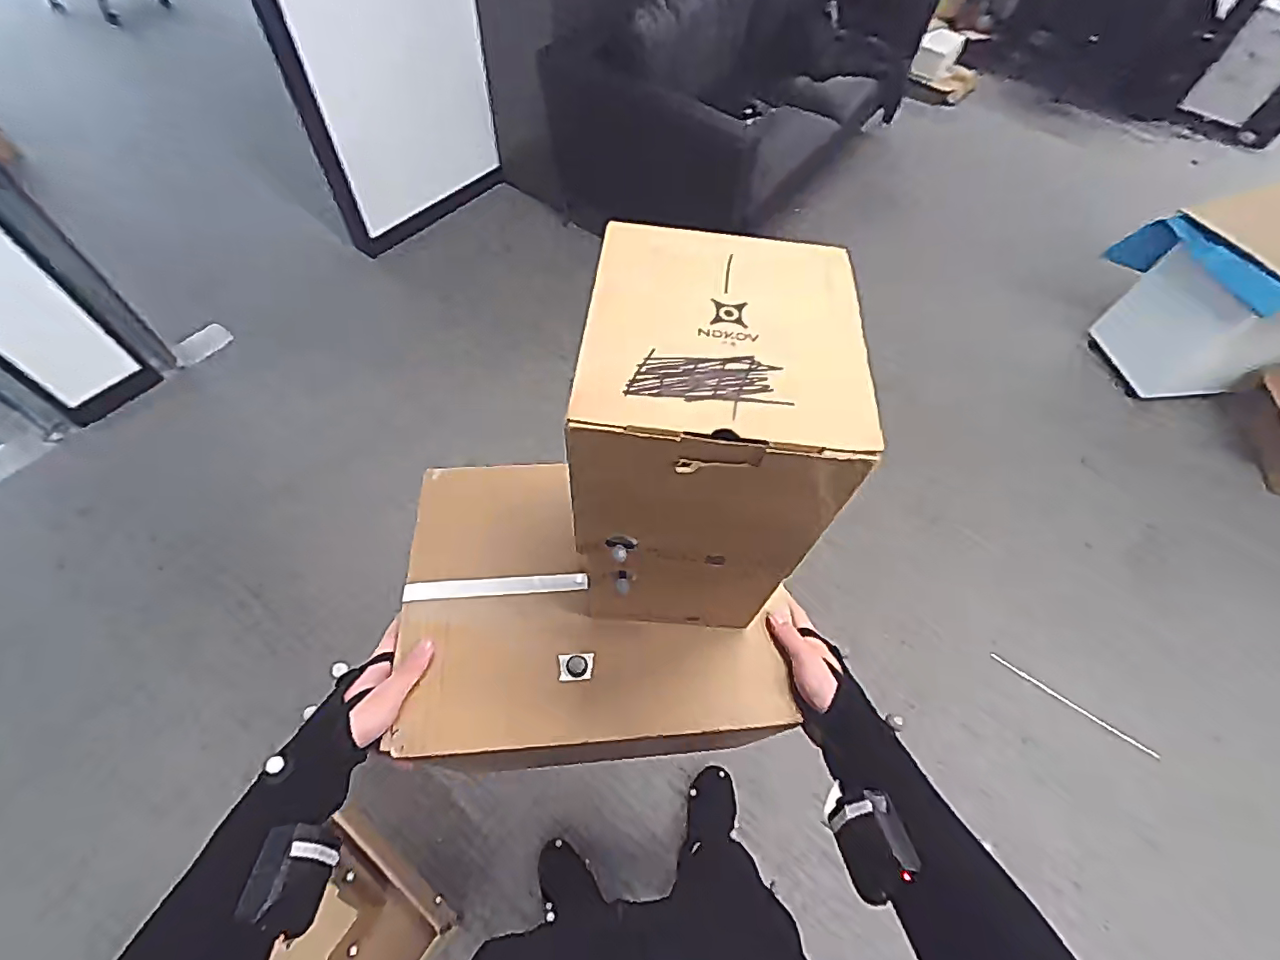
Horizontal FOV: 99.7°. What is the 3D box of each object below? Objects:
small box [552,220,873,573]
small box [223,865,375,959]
[{"bbox_3d":[0.041,-0.049,0.381,0.168,0.176,0.179,7,57,0],"label":"small box"},{"bbox_3d":[-0.665,0.912,1.084,0.168,0.176,0.179,30,61,13],"label":"small box"}]
